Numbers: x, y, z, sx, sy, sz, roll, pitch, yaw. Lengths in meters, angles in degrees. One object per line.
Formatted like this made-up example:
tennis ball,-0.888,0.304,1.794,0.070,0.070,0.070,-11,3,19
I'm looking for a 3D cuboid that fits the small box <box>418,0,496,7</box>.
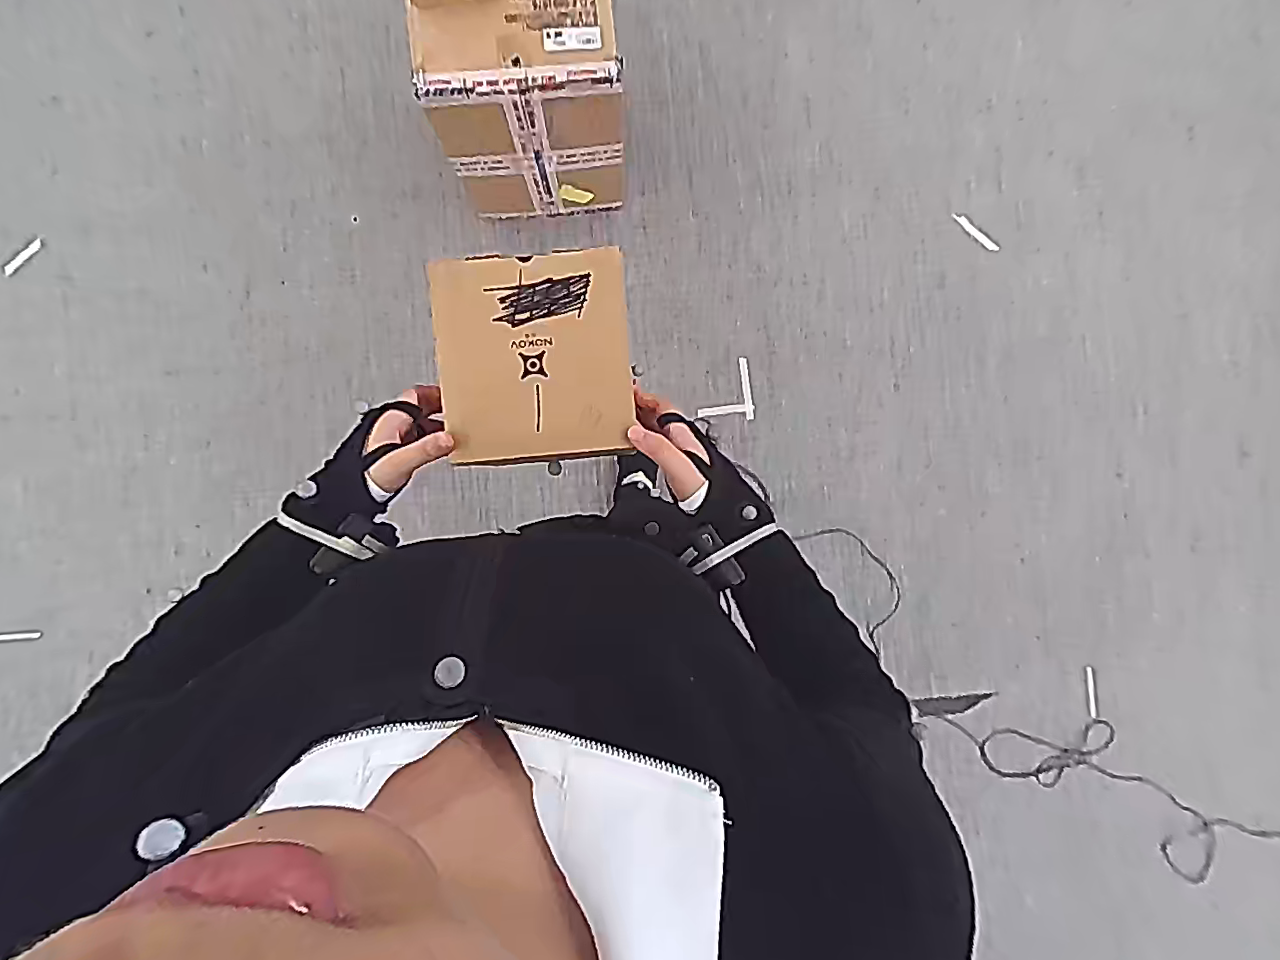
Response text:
small box,-0.344,-0.969,0.923,0.168,0.176,0.179,-6,92,0
